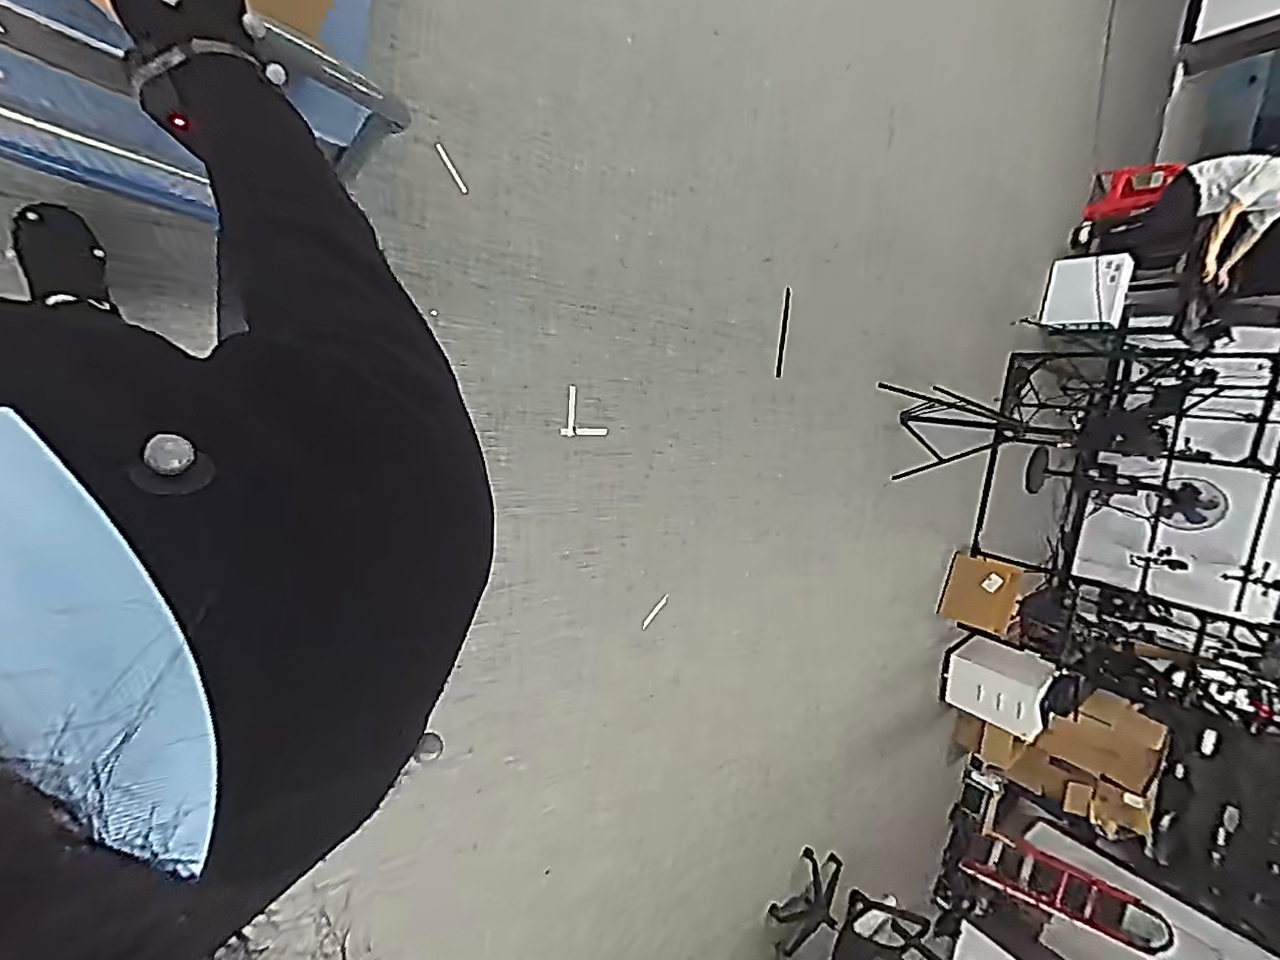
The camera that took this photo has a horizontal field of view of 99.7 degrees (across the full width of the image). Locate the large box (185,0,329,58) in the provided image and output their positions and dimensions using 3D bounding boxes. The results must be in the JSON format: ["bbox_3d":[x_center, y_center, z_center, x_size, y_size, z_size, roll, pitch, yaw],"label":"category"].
[{"bbox_3d":[-0.653,-0.915,0.756,0.408,0.320,0.320,9,95,-39],"label":"large box"}]
